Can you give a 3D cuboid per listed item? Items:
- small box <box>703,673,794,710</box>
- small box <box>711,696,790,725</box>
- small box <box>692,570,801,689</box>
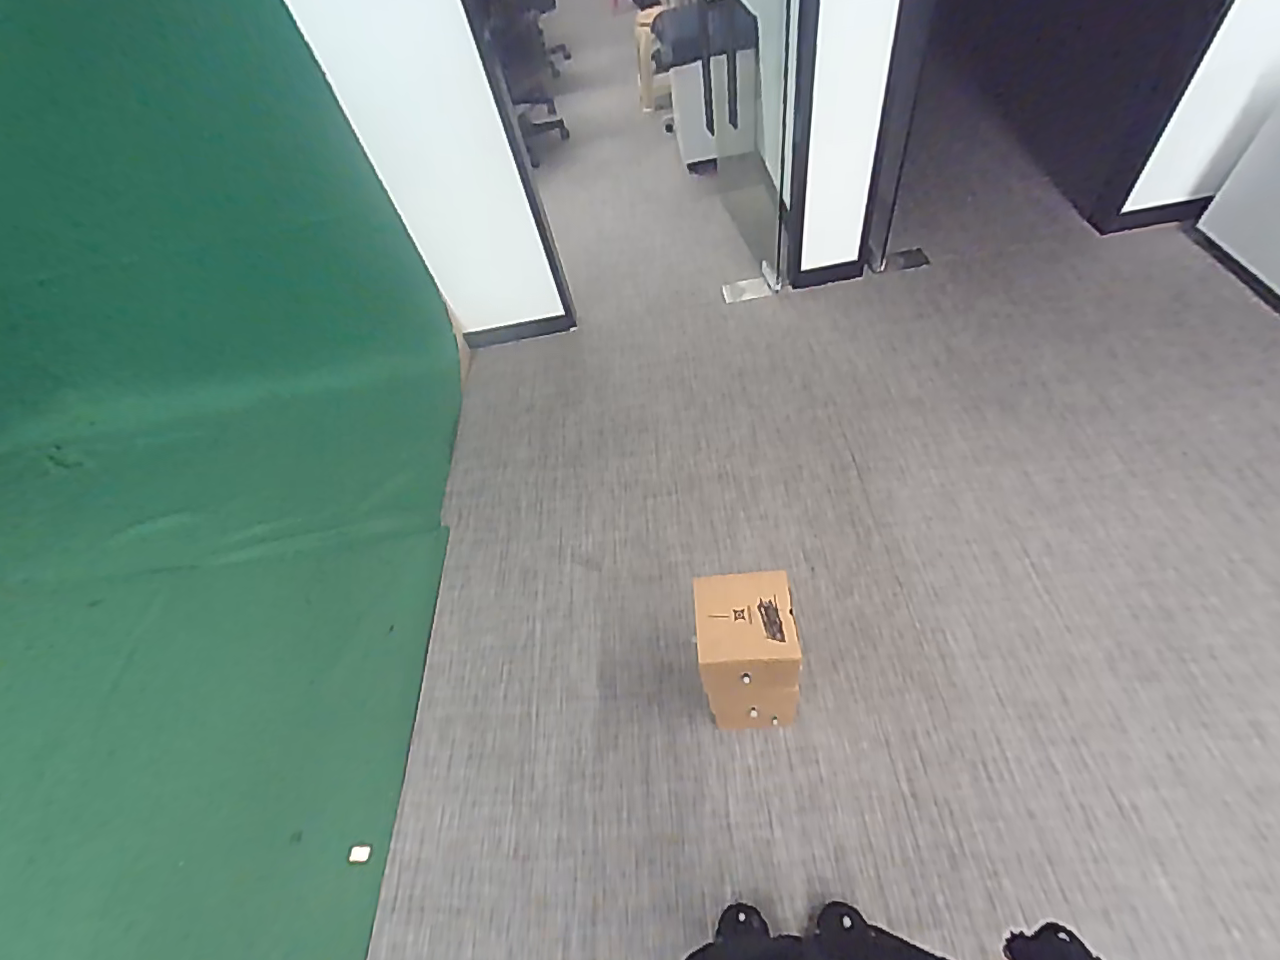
[{"bbox_3d":[0.225,0.386,1.158,0.179,0.176,0.168,-4,53,9],"label":"small box"},{"bbox_3d":[0.254,0.477,1.291,0.179,0.176,0.168,-8,52,8],"label":"small box"},{"bbox_3d":[0.195,0.288,1.028,0.179,0.176,0.168,-7,53,5],"label":"small box"}]
